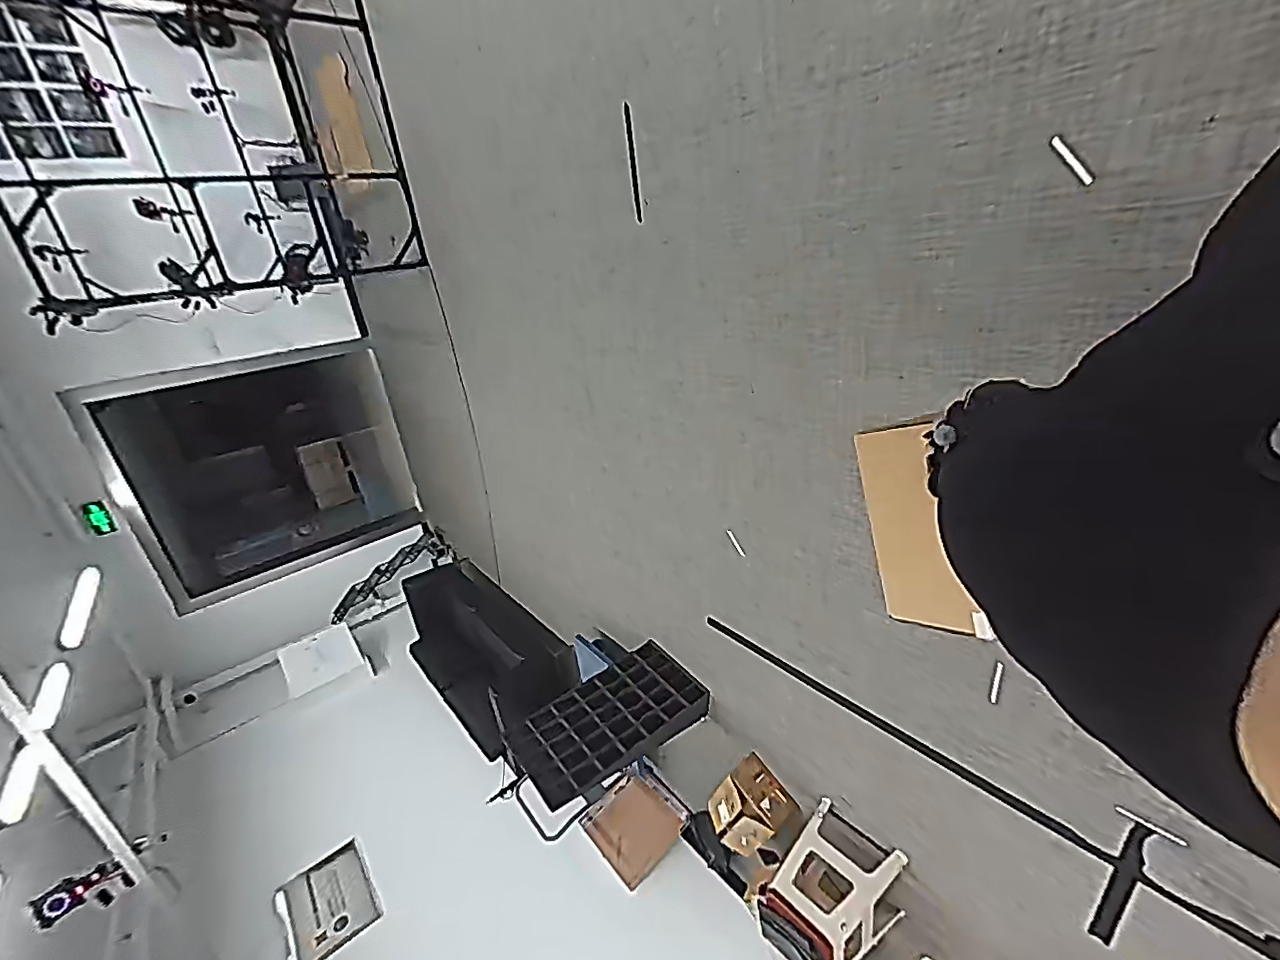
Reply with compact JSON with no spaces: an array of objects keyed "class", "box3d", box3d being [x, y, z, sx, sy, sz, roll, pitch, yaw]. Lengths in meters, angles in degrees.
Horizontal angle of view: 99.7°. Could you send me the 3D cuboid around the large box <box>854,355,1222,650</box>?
[{"class":"large box","box3d":[0.612,0.015,0.837,0.320,0.408,0.320,-8,96,61]}]
